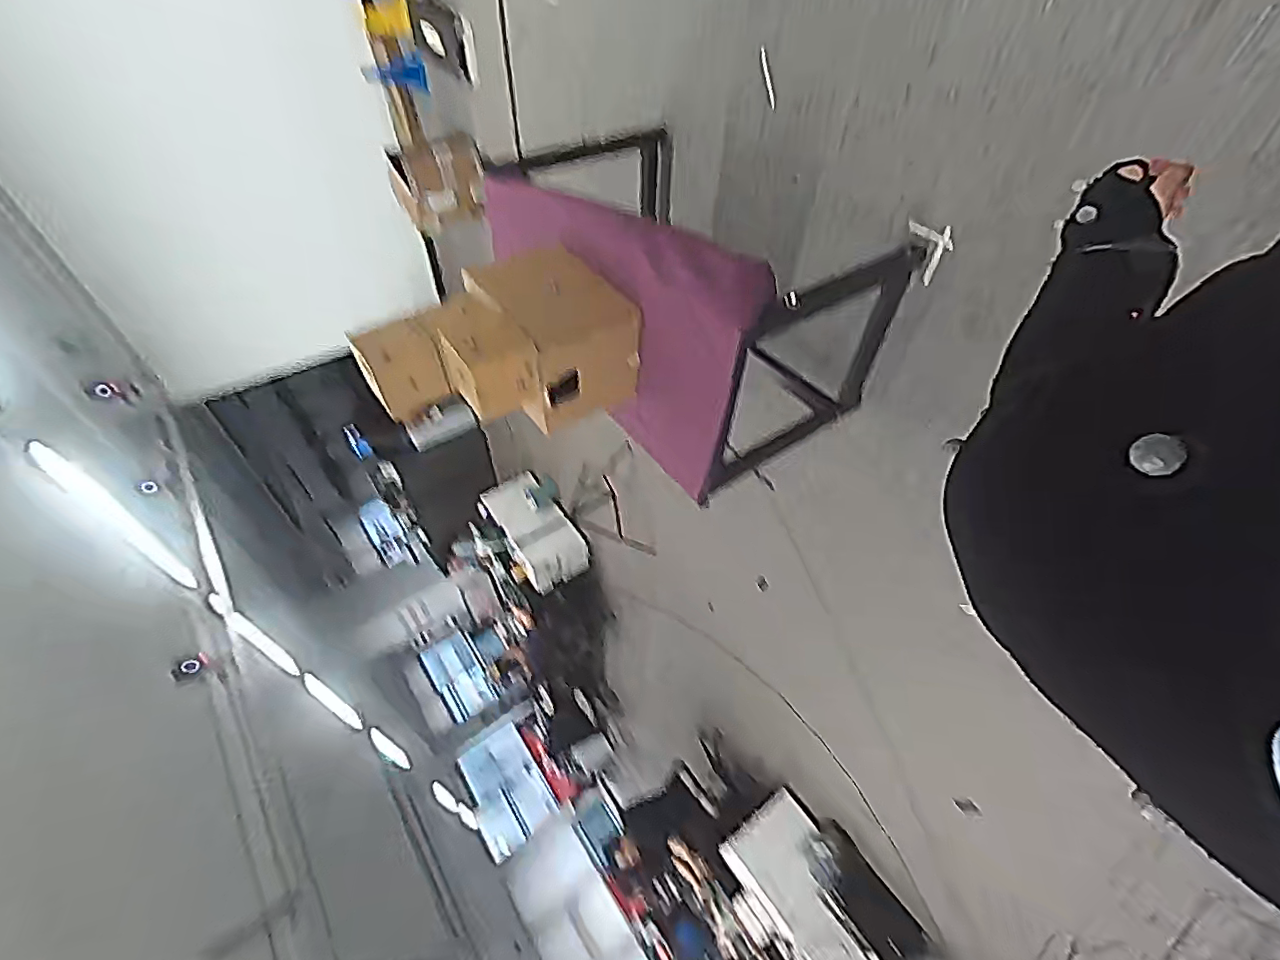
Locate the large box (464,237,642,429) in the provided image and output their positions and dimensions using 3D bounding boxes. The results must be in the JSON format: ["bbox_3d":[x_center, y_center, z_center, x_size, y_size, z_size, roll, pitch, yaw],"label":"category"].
[{"bbox_3d":[-0.238,-0.424,1.526,0.408,0.320,0.320,46,153,28],"label":"large box"}]

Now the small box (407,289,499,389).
[{"bbox_3d":[-0.502,-0.387,1.477,0.168,0.176,0.179,45,152,27],"label":"small box"}]
